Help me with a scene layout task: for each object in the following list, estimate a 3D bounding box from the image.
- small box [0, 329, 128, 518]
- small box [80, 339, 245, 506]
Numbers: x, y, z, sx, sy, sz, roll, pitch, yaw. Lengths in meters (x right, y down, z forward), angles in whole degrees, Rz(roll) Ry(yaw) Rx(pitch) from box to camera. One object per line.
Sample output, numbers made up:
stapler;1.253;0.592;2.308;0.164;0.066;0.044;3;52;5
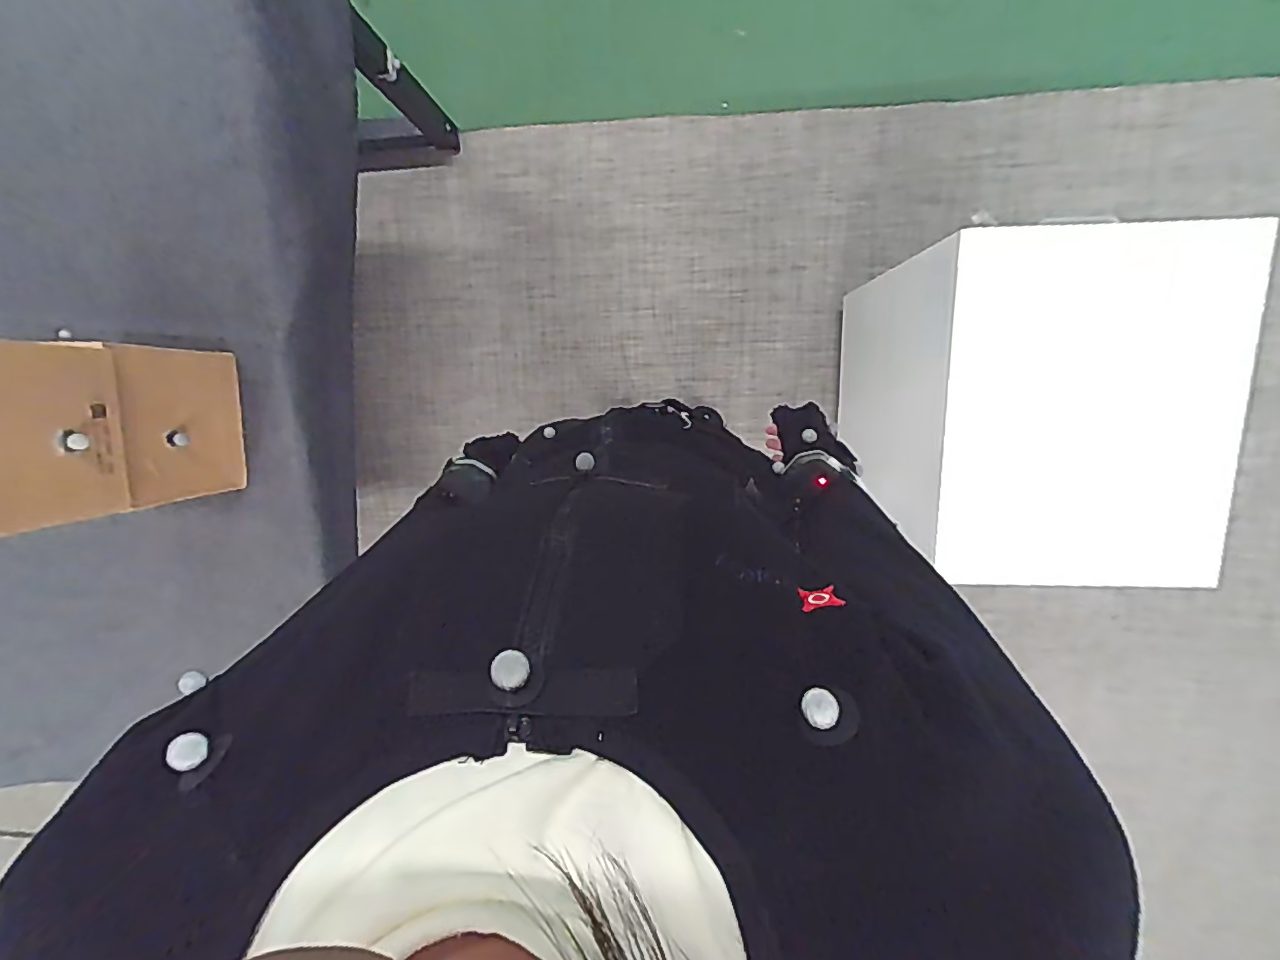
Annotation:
small box;-0.626;-0.049;0.483;0.179;0.176;0.168;0;99;7
small box;-0.614;-0.075;0.645;0.168;0.176;0.179;2;100;5
